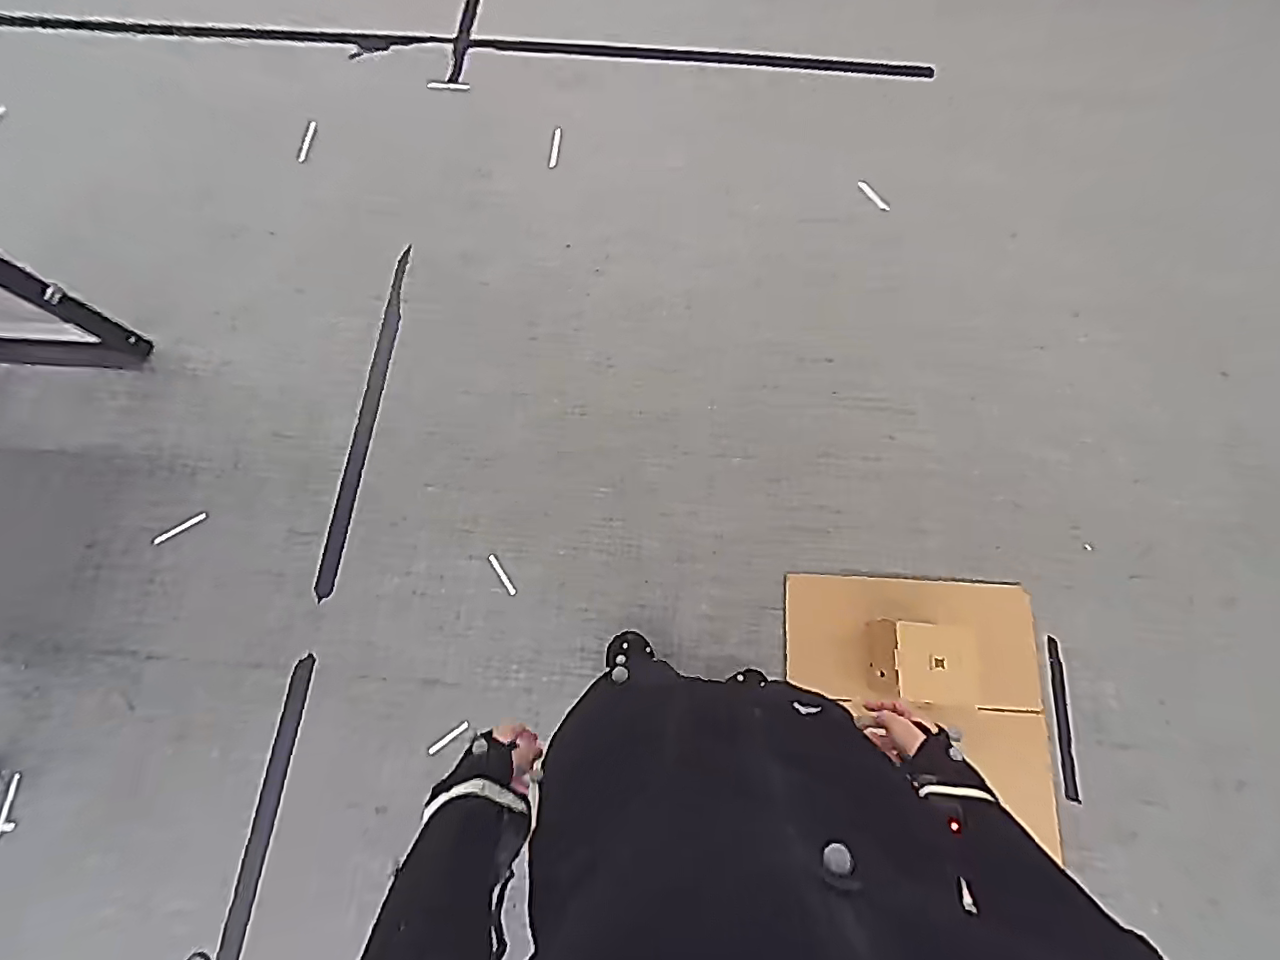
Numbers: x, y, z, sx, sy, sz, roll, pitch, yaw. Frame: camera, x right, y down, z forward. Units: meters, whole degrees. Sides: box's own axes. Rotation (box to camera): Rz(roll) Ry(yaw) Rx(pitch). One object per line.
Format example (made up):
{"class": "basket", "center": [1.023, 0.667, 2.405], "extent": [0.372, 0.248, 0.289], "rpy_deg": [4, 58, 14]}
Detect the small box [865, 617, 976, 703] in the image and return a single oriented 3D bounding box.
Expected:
{"class": "small box", "center": [0.632, 0.407, 1.241], "extent": [0.179, 0.176, 0.168], "rpy_deg": [4, 77, 1]}
